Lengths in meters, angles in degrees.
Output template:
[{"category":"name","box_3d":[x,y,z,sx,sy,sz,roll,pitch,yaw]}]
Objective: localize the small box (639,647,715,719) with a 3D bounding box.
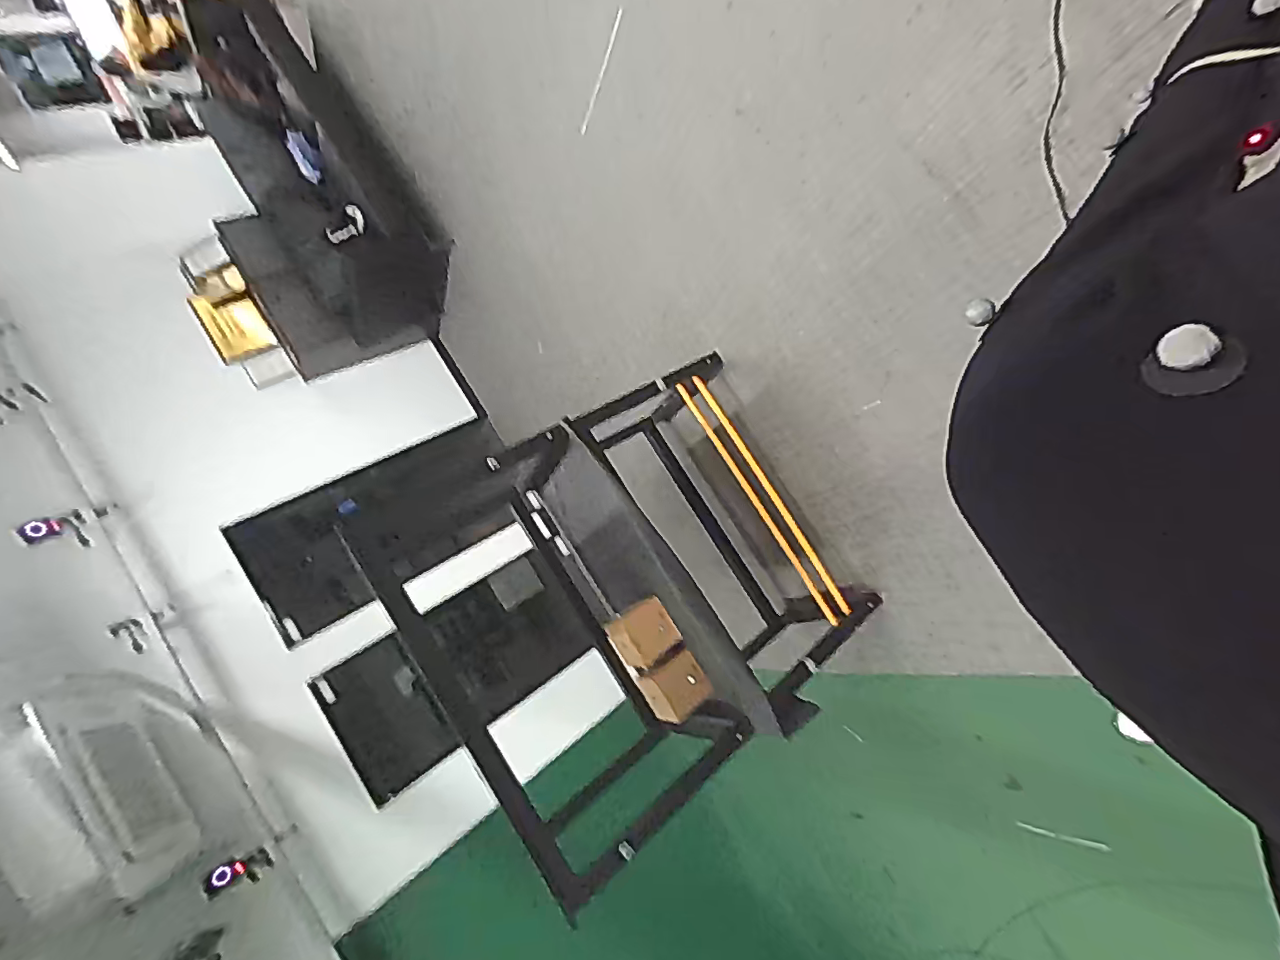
[{"category":"small box","box_3d":[0.129,0.698,1.874,0.168,0.176,0.179,57,152,4]}]

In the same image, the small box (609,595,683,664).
[{"category":"small box","box_3d":[0.022,0.521,1.885,0.168,0.176,0.179,57,151,4]}]
